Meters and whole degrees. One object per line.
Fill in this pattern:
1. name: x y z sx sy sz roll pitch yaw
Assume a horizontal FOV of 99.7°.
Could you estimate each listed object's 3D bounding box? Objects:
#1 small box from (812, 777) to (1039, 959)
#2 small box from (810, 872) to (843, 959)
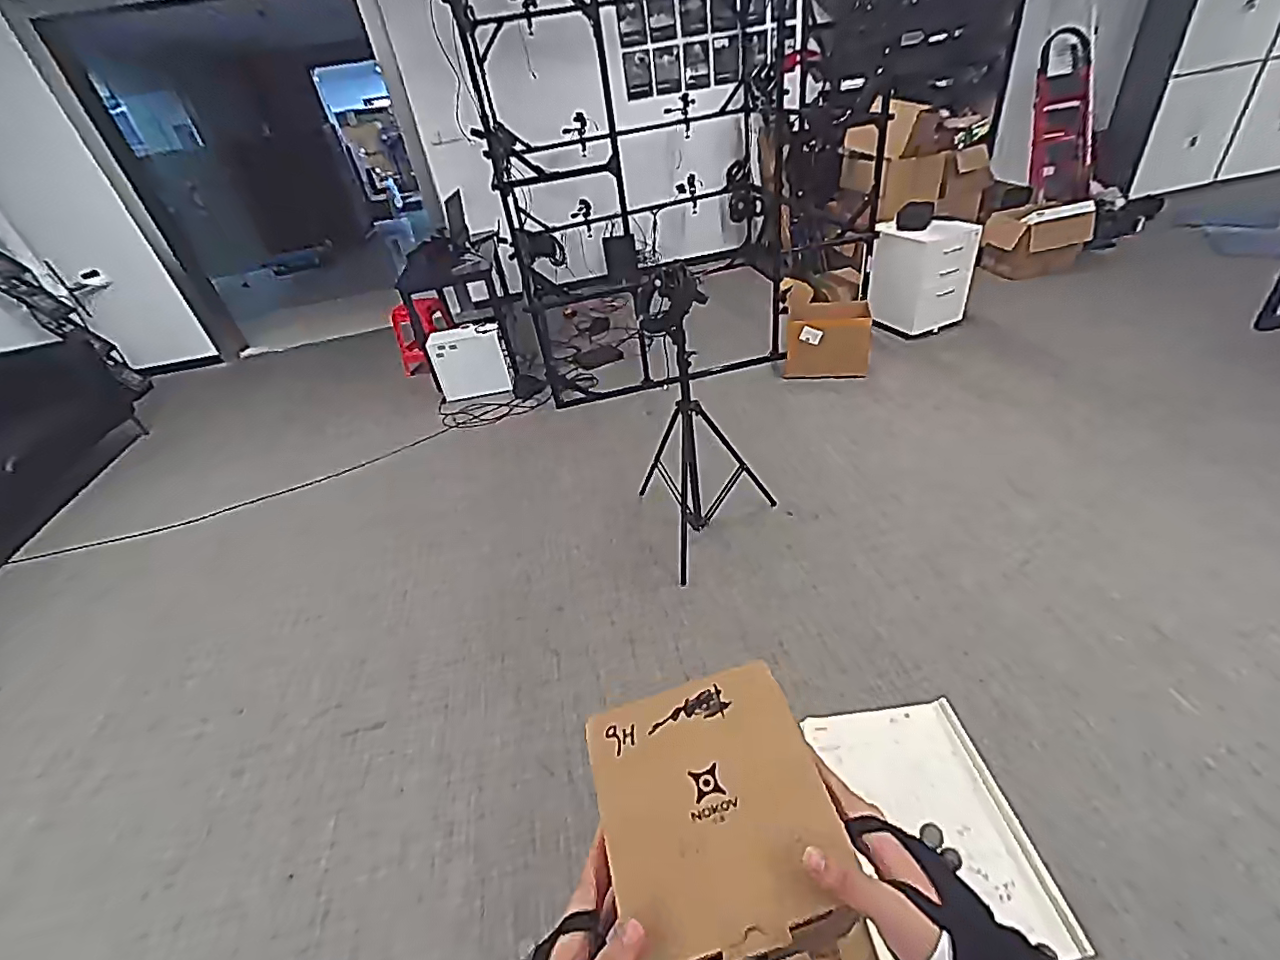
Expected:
1. small box: 0.321 0.496 0.656 0.168 0.176 0.179 -7 38 -1
2. small box: 0.356 0.621 0.759 0.179 0.176 0.168 -10 37 -3
